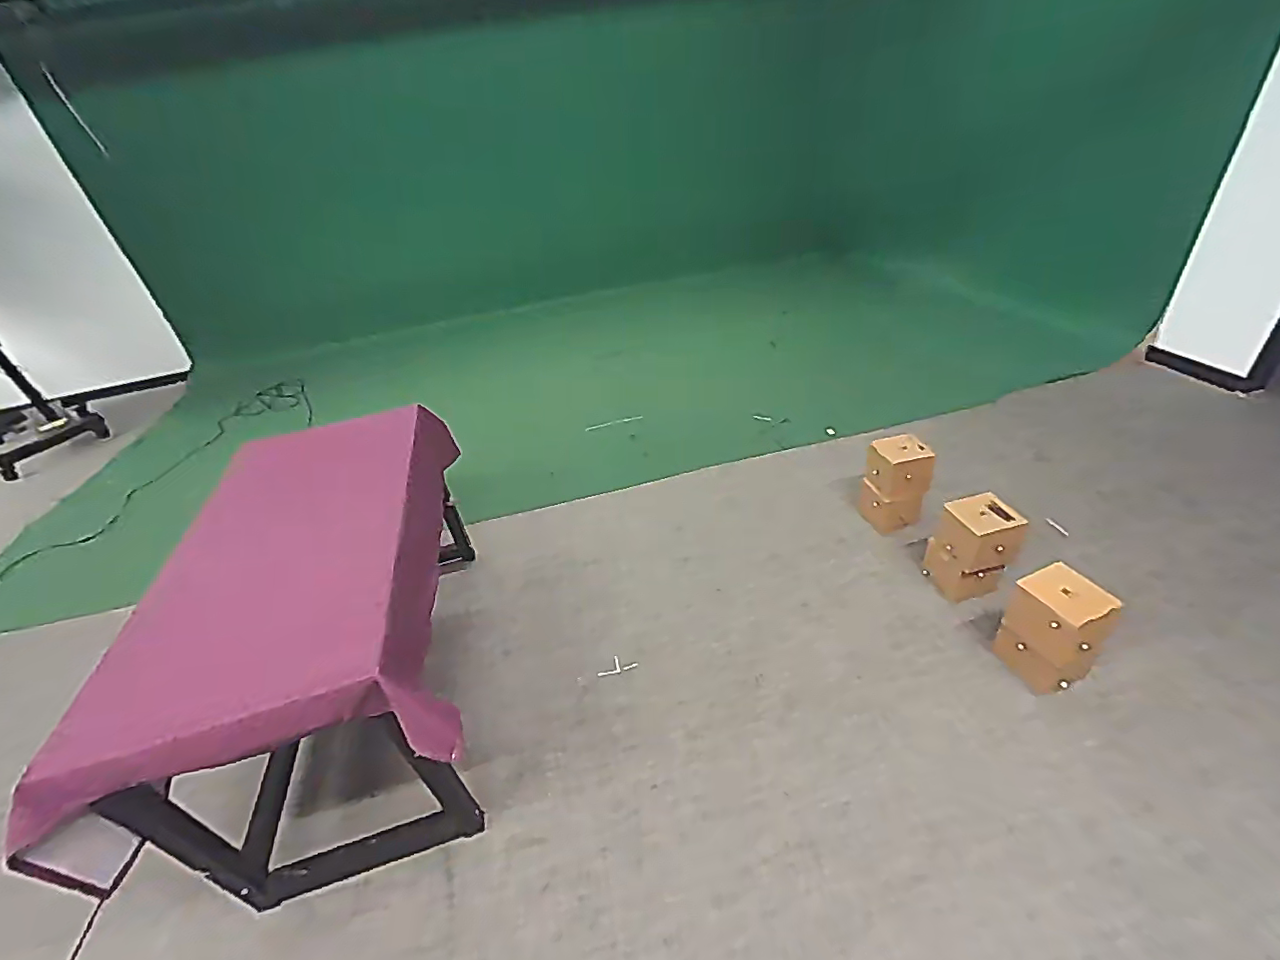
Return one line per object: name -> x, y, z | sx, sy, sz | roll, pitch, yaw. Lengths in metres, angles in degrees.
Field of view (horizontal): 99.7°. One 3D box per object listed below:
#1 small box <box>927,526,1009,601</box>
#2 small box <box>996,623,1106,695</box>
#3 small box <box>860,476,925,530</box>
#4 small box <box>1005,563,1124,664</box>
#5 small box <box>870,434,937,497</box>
small box -> 1.119, 0.291, 1.864 | 0.179, 0.176, 0.168 | -14, 36, -6
small box -> 1.185, 0.488, 1.577 | 0.168, 0.176, 0.179 | -16, 36, -7
small box -> 1.011, 0.085, 2.175 | 0.168, 0.176, 0.179 | -14, 36, -7
small box -> 1.147, 0.364, 1.478 | 0.168, 0.176, 0.179 | -19, 37, -12
small box -> 1.005, -0.053, 2.083 | 0.179, 0.176, 0.168 | -13, 36, -3
